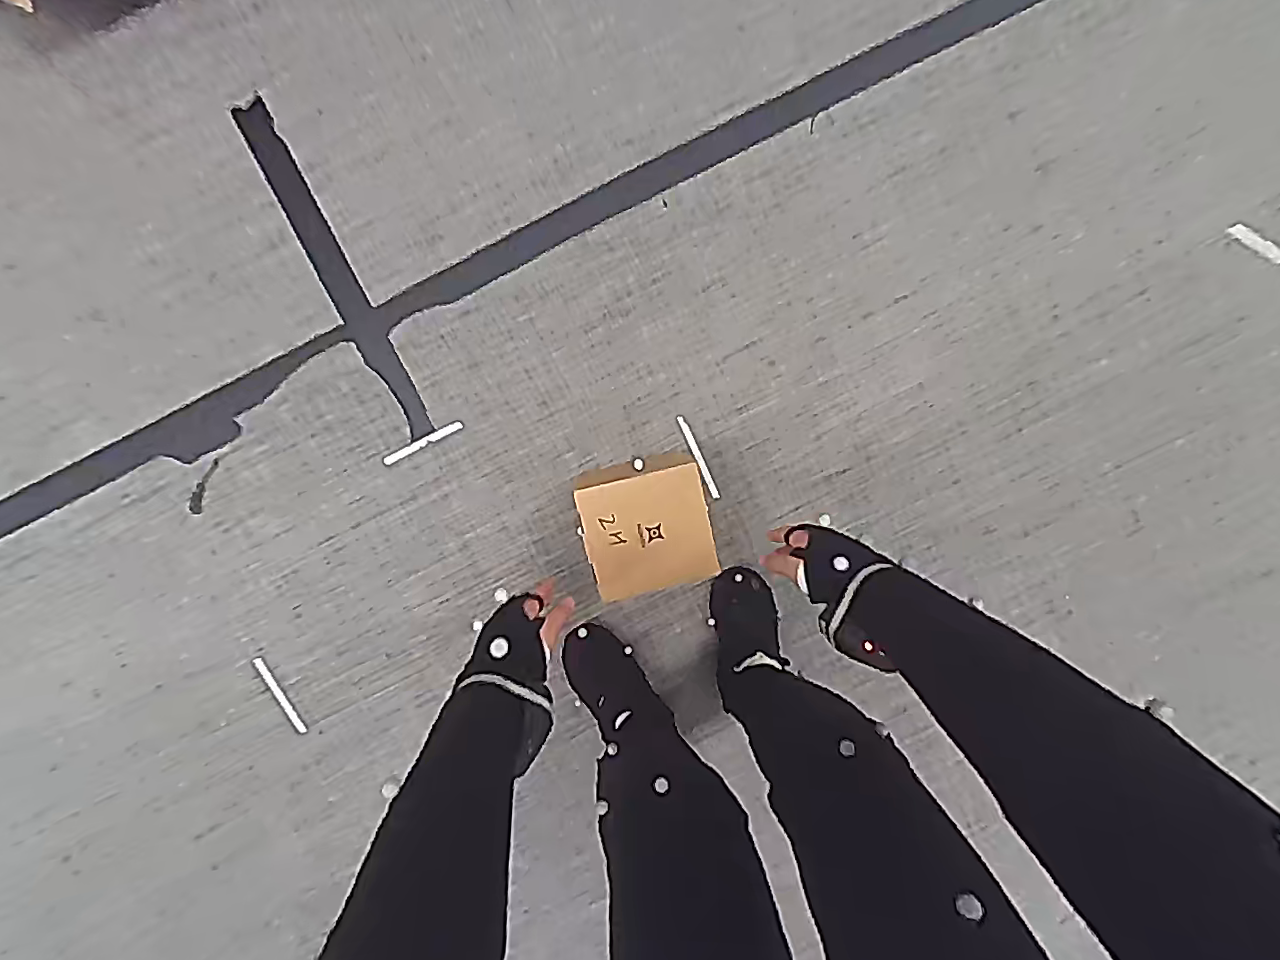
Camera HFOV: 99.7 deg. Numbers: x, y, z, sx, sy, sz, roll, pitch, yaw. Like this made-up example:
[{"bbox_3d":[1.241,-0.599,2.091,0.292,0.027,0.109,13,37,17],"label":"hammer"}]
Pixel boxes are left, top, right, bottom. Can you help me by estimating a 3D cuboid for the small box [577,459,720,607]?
[{"bbox_3d":[0.007,0.069,0.826,0.179,0.176,0.168,-13,99,-2],"label":"small box"}]
